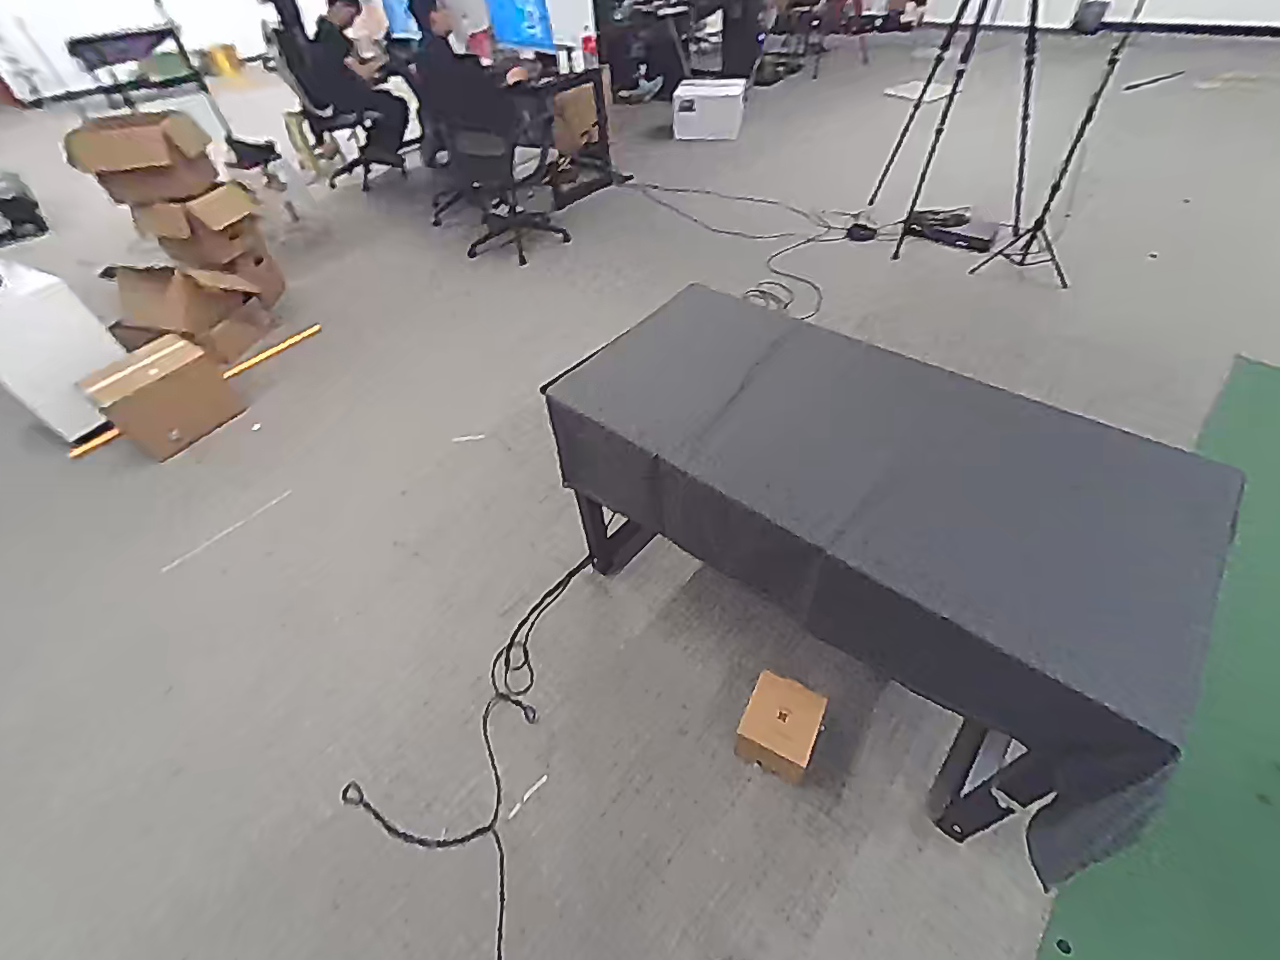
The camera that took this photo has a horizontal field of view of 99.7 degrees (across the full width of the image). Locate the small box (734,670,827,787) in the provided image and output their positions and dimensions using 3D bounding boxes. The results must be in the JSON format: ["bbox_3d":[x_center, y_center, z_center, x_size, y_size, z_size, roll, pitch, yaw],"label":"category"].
[{"bbox_3d":[0.337,0.606,1.320,0.168,0.176,0.179,20,51,23],"label":"small box"}]
